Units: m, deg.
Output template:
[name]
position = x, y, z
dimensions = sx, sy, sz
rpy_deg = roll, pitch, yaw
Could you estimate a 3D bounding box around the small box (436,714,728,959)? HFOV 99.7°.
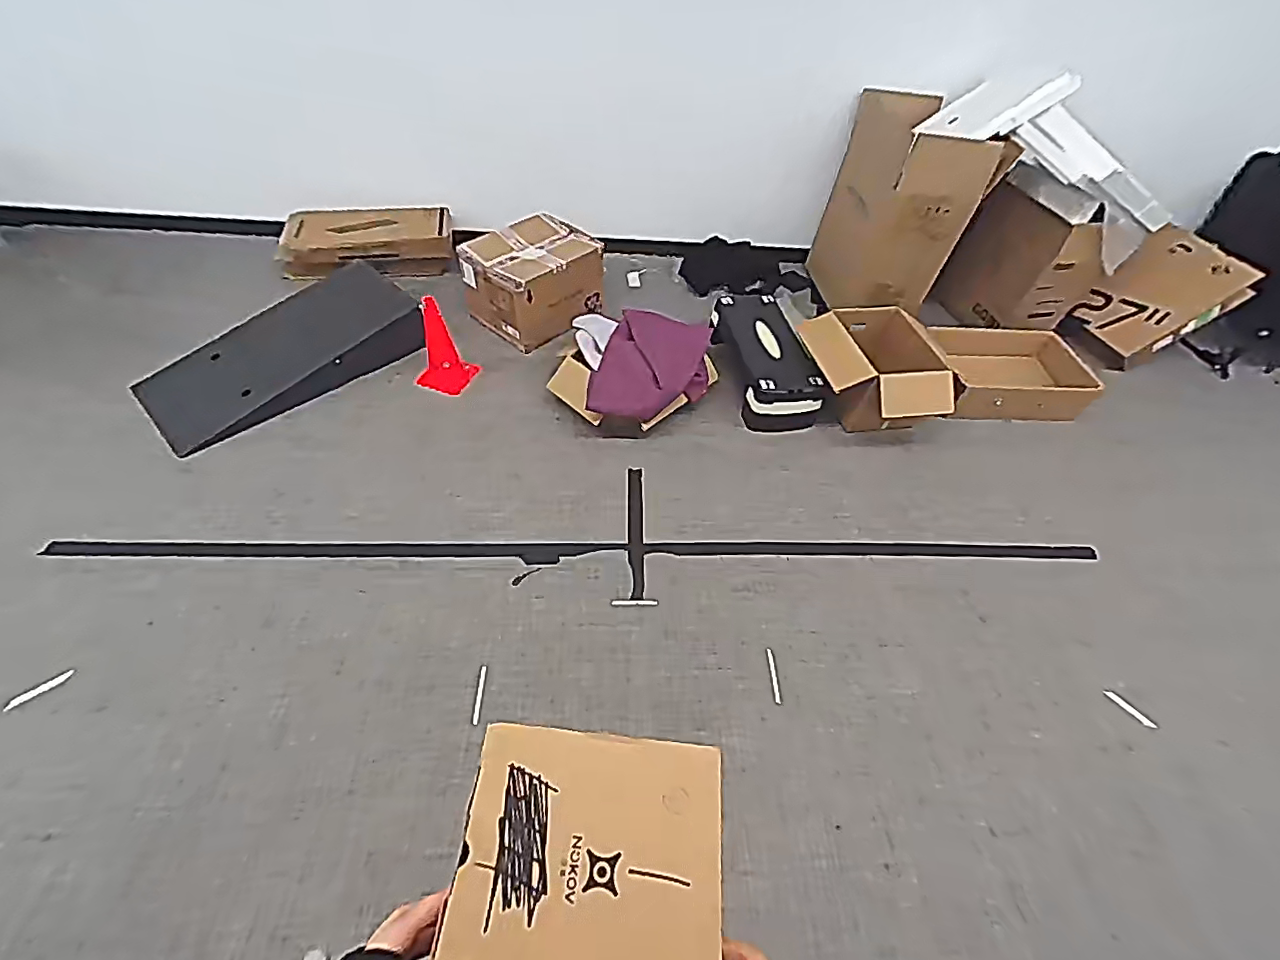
[small box]
position = -0.035, 0.298, 0.417
dimensions = 0.179, 0.176, 0.168
rpy_deg = 7, 51, -1
